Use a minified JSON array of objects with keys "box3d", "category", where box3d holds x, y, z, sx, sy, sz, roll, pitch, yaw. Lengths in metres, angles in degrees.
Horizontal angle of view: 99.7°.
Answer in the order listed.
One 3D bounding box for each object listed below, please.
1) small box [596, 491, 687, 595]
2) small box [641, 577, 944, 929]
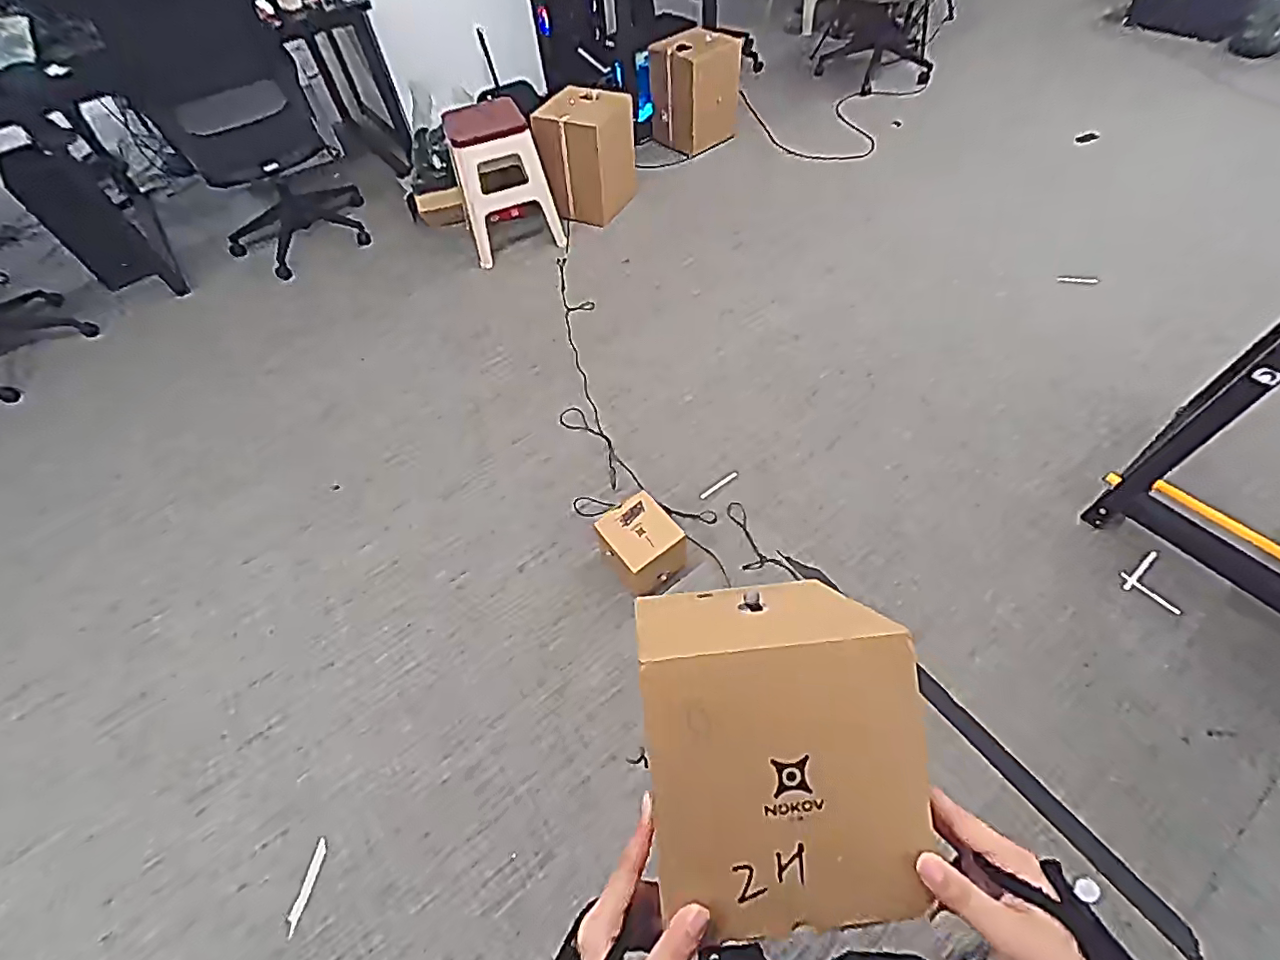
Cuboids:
[{"box3d":[0.005,0.167,1.411,0.168,0.176,0.179,-34,60,-17],"category":"small box"},{"box3d":[0.090,0.171,0.398,0.168,0.176,0.179,-5,89,-1],"category":"small box"}]
